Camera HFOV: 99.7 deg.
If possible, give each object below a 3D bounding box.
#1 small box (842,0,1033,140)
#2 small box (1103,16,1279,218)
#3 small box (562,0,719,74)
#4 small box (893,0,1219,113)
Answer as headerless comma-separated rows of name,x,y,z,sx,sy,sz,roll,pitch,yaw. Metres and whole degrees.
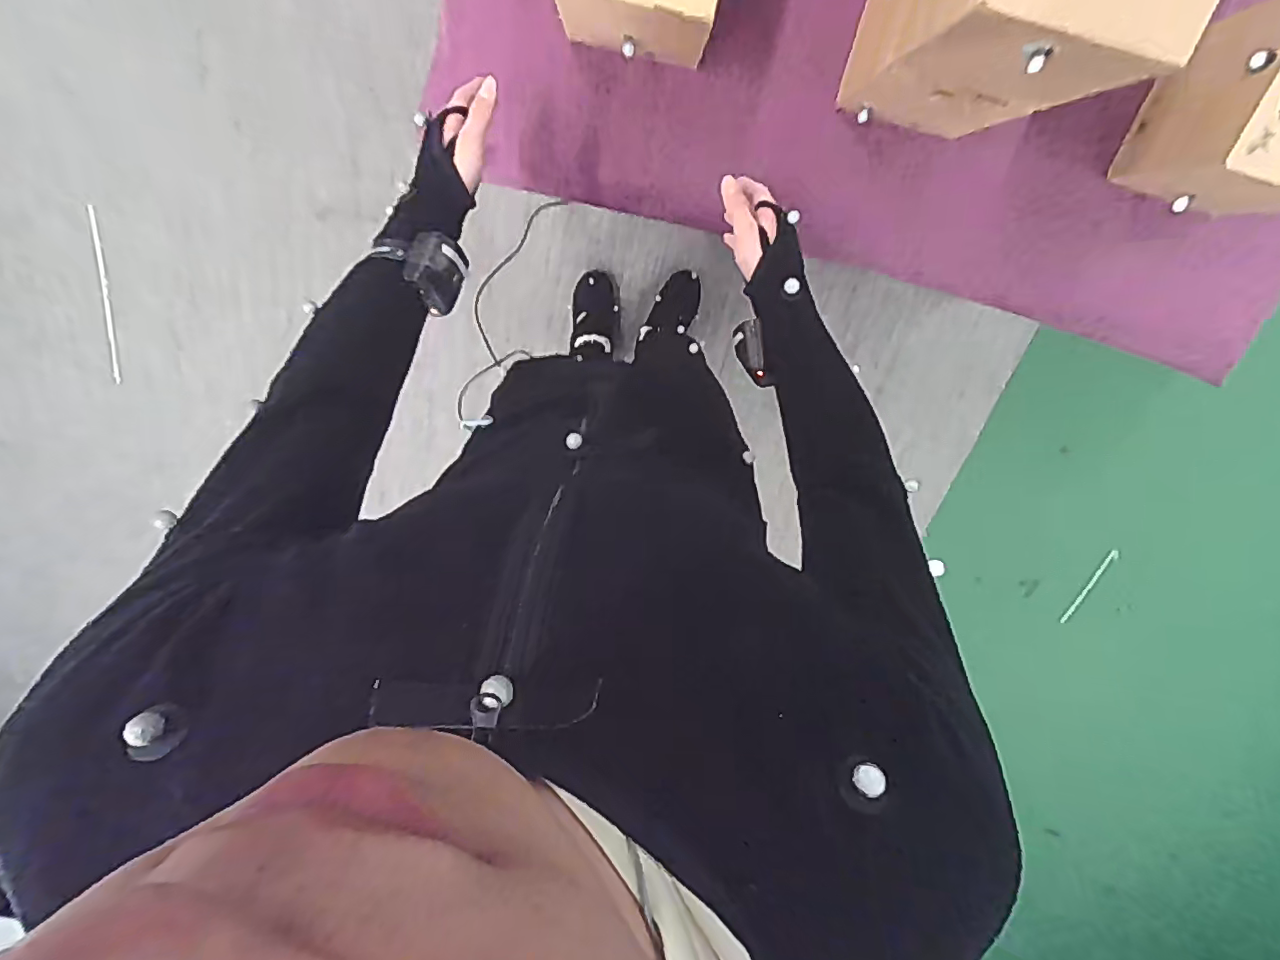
small box,0.346,-0.501,0.597,0.168,0.176,0.179,11,112,-6
small box,0.726,-0.419,0.640,0.179,0.176,0.168,12,113,-7
small box,0.008,-0.565,0.561,0.168,0.176,0.179,10,113,-5
small box,0.348,-0.432,0.450,0.179,0.176,0.168,11,114,-7
